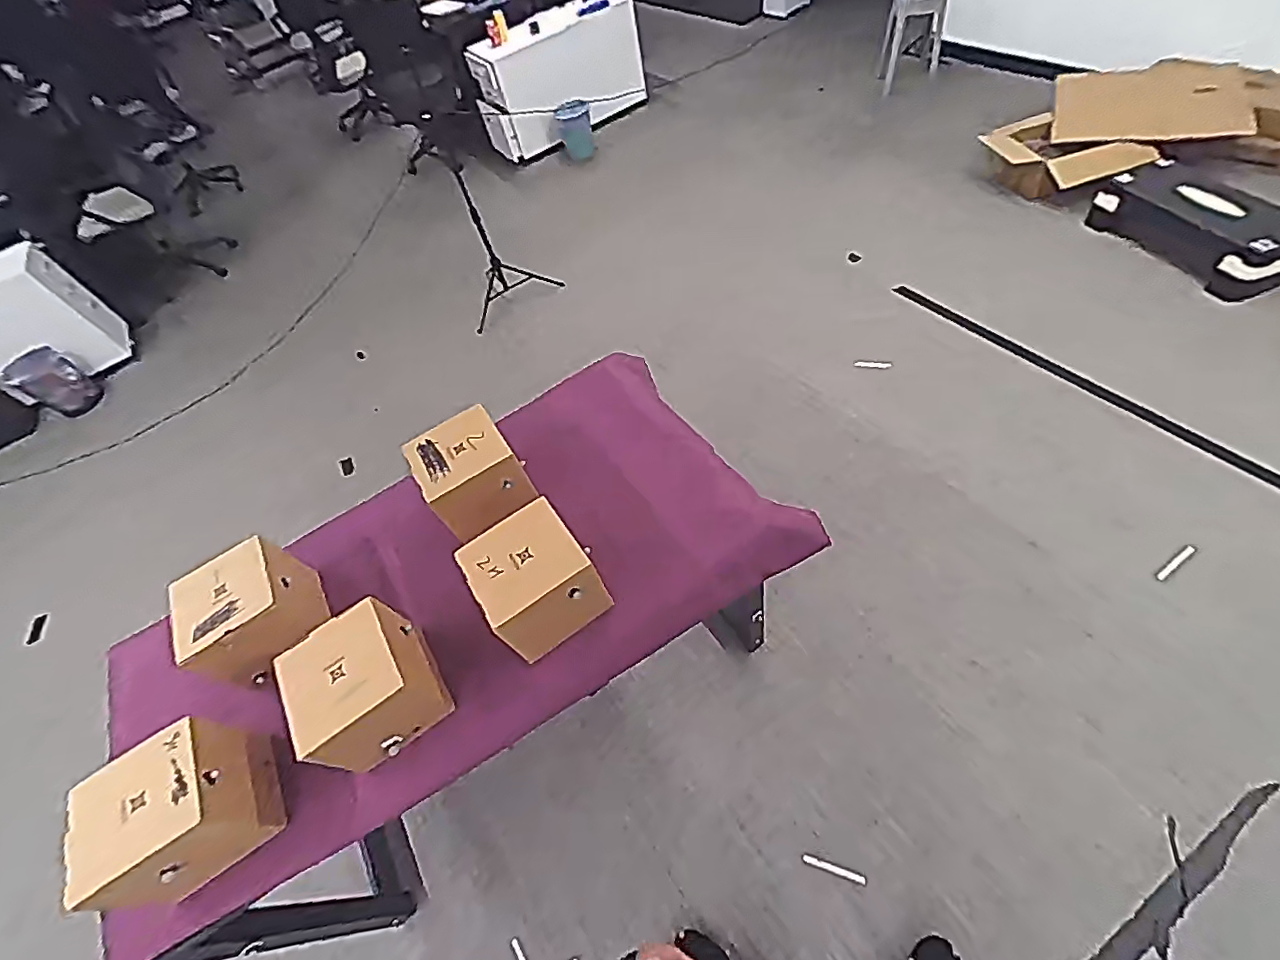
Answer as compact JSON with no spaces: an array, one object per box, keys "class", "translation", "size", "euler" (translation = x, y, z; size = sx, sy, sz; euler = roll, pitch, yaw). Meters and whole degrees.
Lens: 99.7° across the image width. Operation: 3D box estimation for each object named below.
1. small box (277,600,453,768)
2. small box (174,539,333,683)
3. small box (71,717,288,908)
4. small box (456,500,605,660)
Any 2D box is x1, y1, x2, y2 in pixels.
[{"class":"small box","translation":[-0.434,0.333,0.870],"size":[0.168,0.176,0.179],"euler":[-35,57,-11]},{"class":"small box","translation":[-0.695,0.246,0.987],"size":[0.168,0.176,0.179],"euler":[-34,55,-12]},{"class":"small box","translation":[-0.675,0.493,0.808],"size":[0.179,0.176,0.168],"euler":[-34,56,-11]},{"class":"small box","translation":[-0.175,0.173,0.920],"size":[0.179,0.176,0.168],"euler":[-34,55,-11]}]
